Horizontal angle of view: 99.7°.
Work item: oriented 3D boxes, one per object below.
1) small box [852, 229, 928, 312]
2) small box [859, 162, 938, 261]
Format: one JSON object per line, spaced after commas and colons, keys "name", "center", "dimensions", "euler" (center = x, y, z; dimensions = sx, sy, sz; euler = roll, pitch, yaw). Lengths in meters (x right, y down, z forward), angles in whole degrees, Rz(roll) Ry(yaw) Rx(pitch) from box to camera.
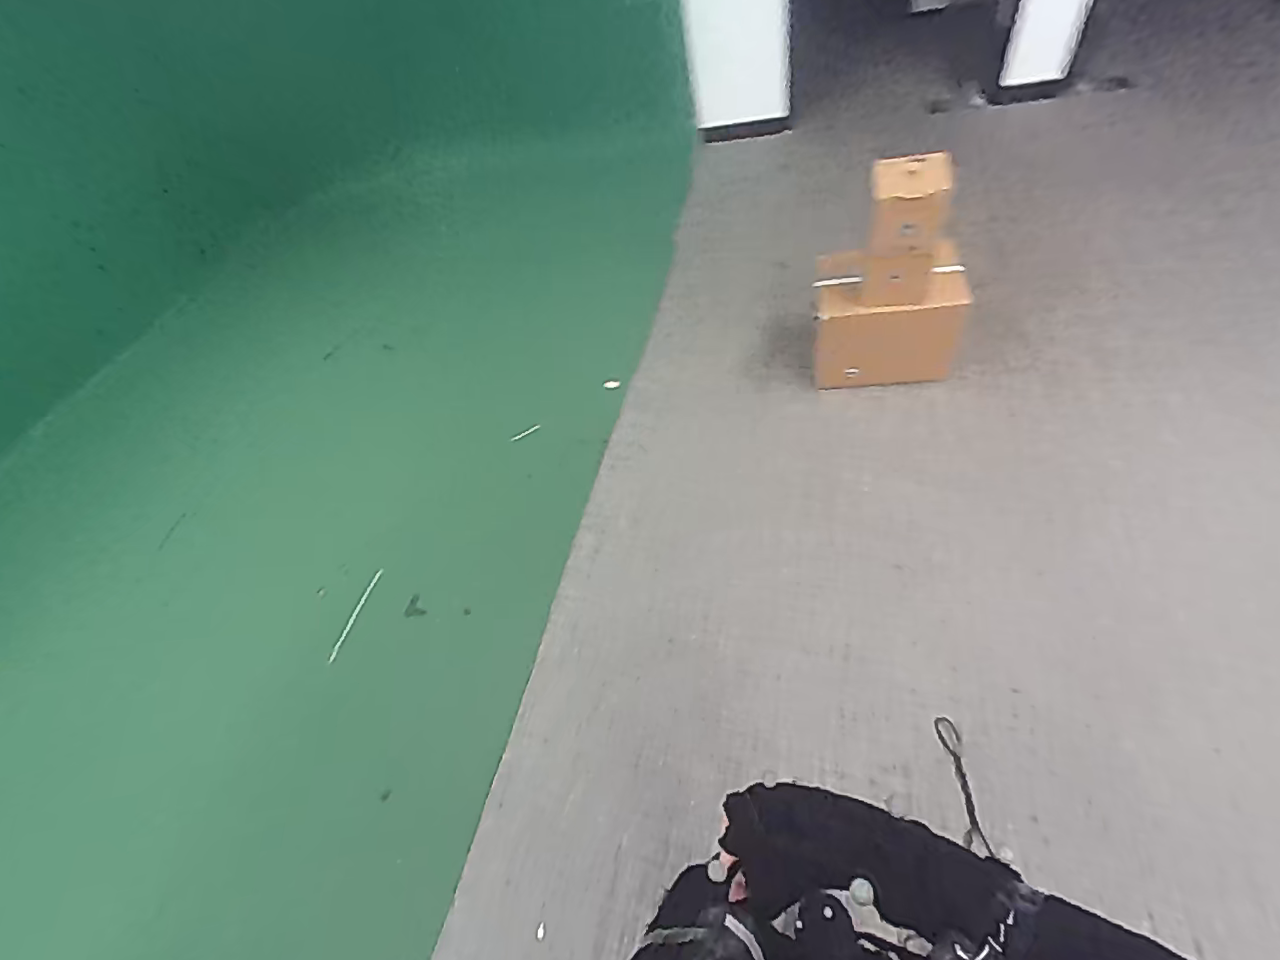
{"name": "small box", "center": [0.708, -0.602, 1.546], "dimensions": [0.179, 0.176, 0.168], "euler": [2, 57, 18]}
{"name": "small box", "center": [0.670, -0.693, 1.416], "dimensions": [0.168, 0.176, 0.179], "euler": [2, 57, 18]}
